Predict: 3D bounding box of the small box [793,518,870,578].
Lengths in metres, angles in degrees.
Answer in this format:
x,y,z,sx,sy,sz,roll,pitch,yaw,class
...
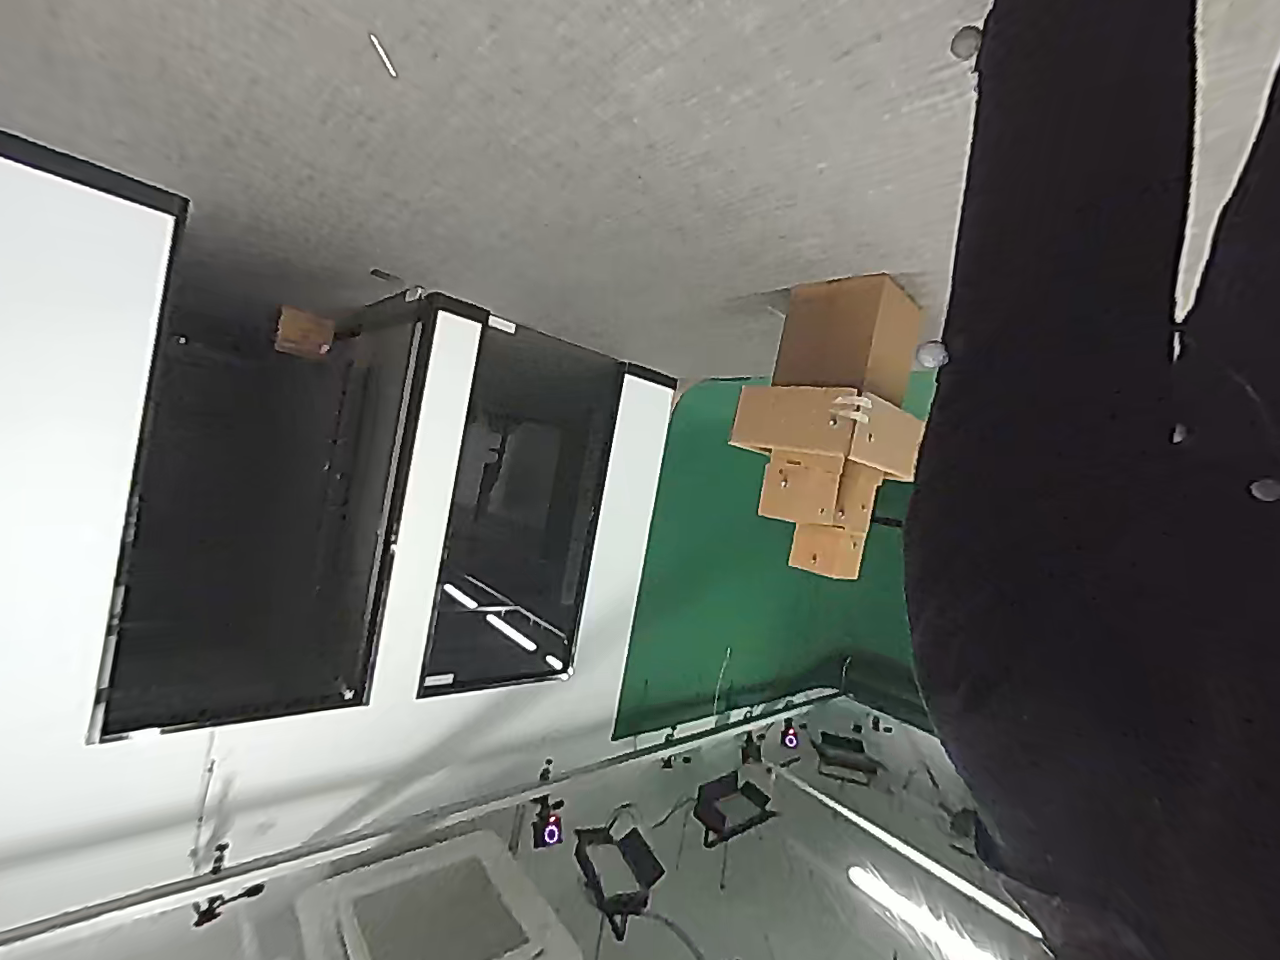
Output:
x,y,z,sx,sy,sz,roll,pitch,yaw,class
0.653,0.226,1.835,0.168,0.176,0.179,11,180,-42,small box
